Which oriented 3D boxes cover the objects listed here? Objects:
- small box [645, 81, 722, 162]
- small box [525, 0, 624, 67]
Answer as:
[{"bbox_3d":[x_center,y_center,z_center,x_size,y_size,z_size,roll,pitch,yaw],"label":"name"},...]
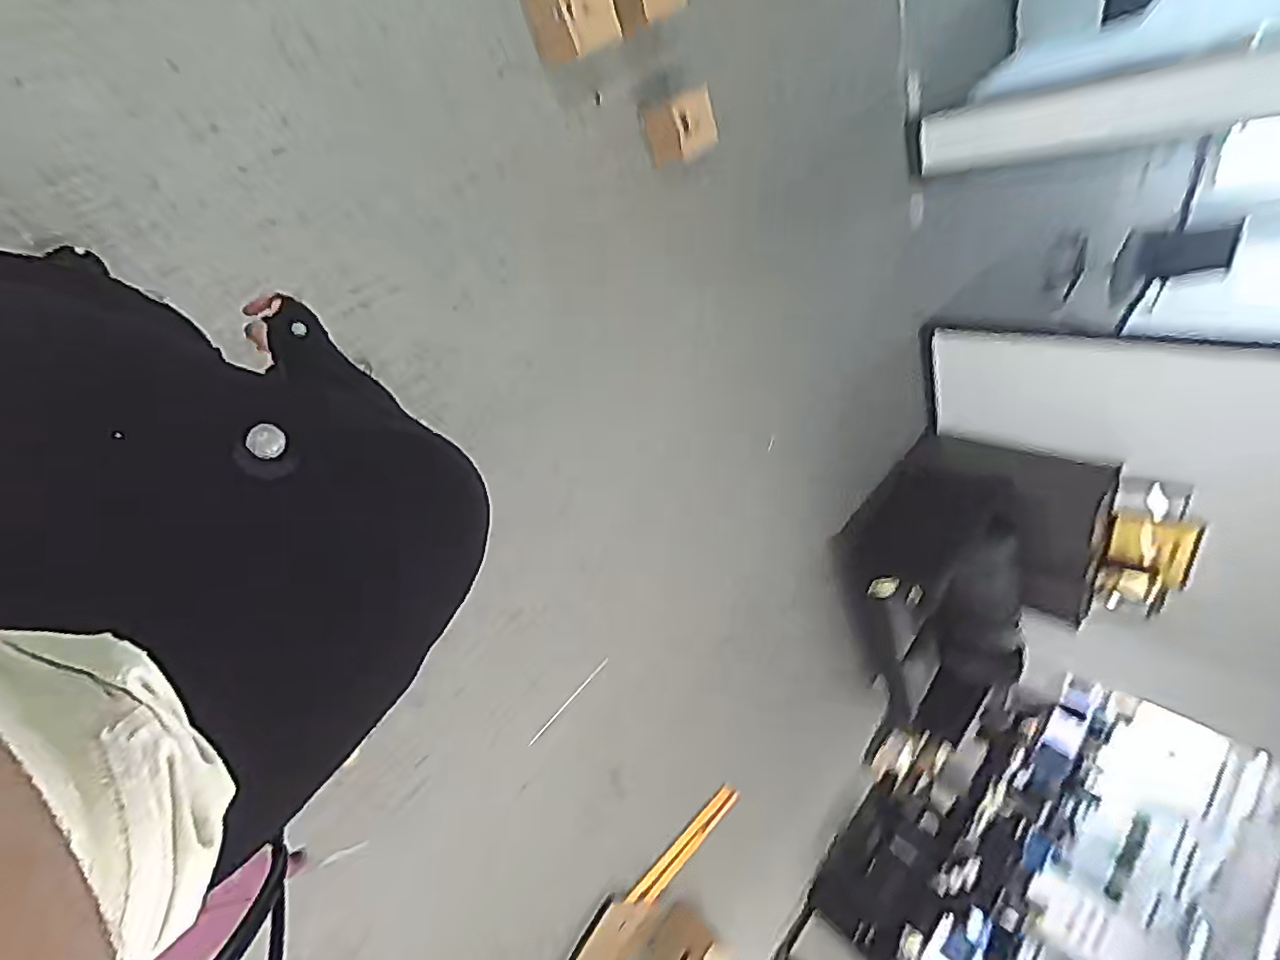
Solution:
[{"bbox_3d":[0.137,-1.186,1.799,0.179,0.176,0.168,-41,128,-22],"label":"small box"},{"bbox_3d":[-0.182,-1.282,1.490,0.179,0.176,0.168,-43,128,-22],"label":"small box"}]
